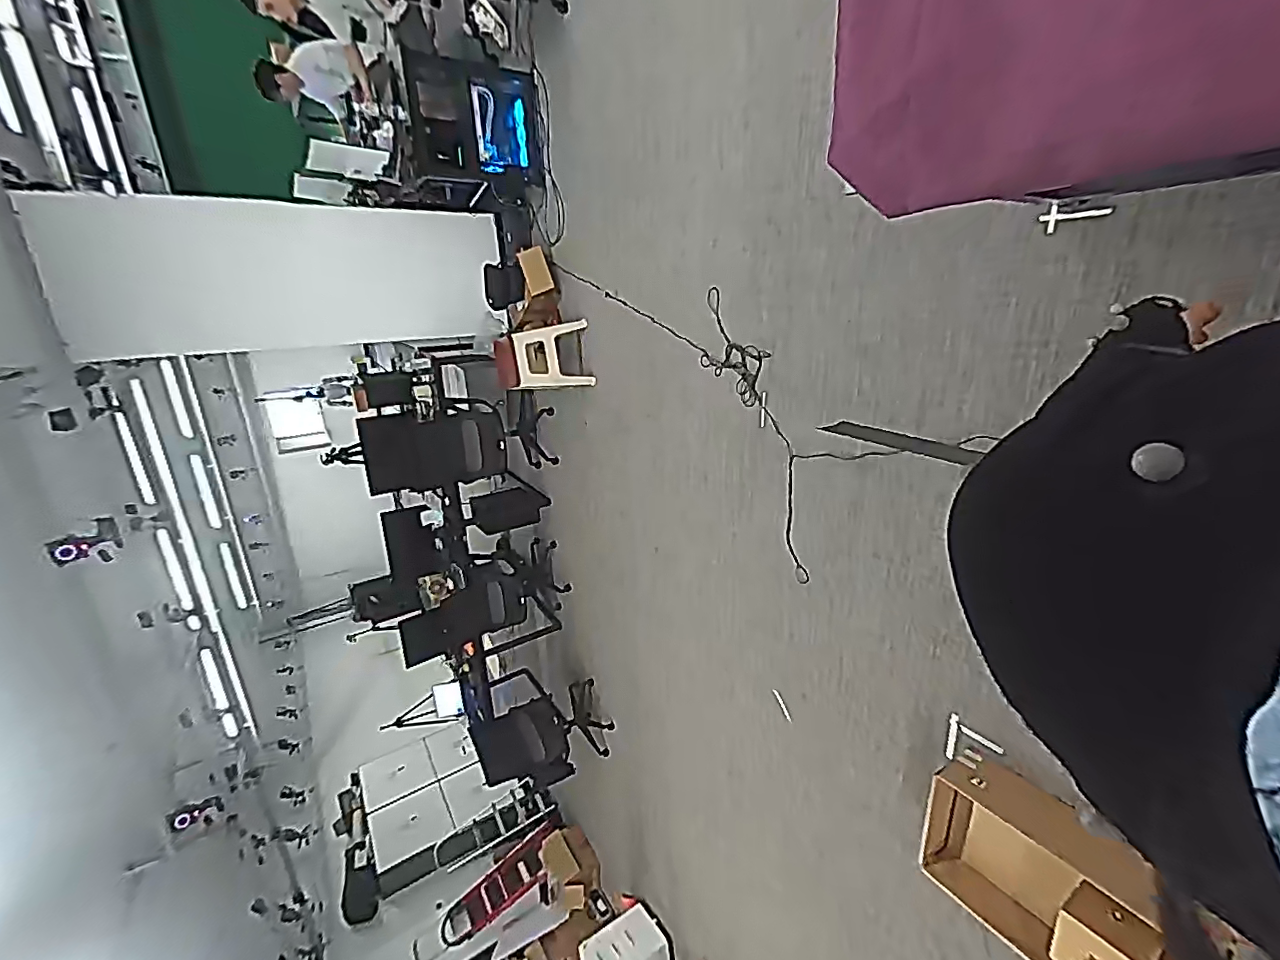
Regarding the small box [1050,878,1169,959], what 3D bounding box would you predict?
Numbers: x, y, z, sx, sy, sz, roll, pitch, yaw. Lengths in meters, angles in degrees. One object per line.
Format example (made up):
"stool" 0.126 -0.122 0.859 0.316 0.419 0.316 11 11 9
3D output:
"small box" 1.162 1.149 1.338 0.168 0.176 0.179 23 121 55
